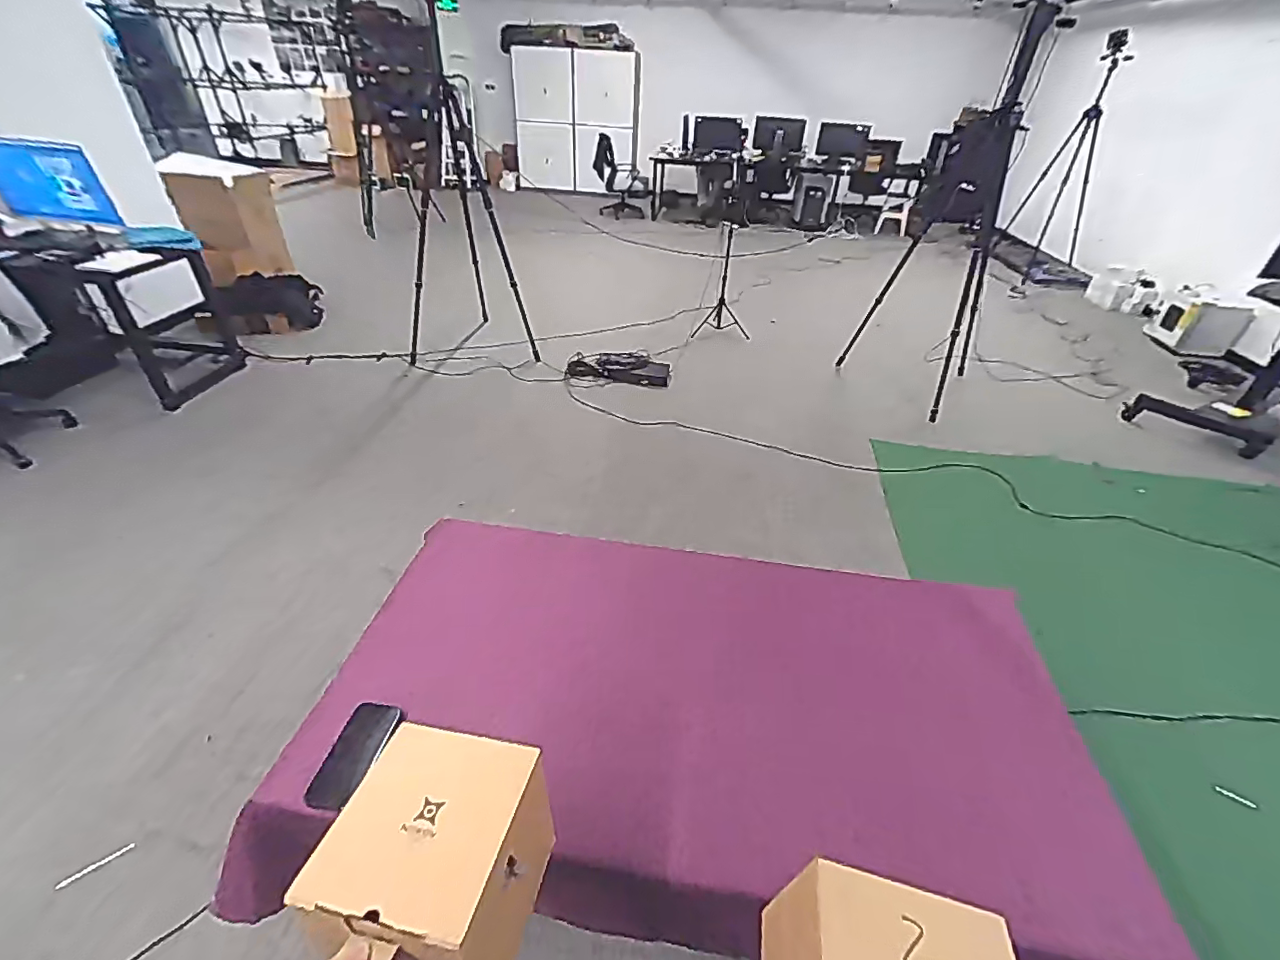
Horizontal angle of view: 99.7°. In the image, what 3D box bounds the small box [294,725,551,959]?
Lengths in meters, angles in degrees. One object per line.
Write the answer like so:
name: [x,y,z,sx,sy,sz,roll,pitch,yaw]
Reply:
small box: [-0.196,0.390,0.547,0.168,0.176,0.179,6,30,11]
